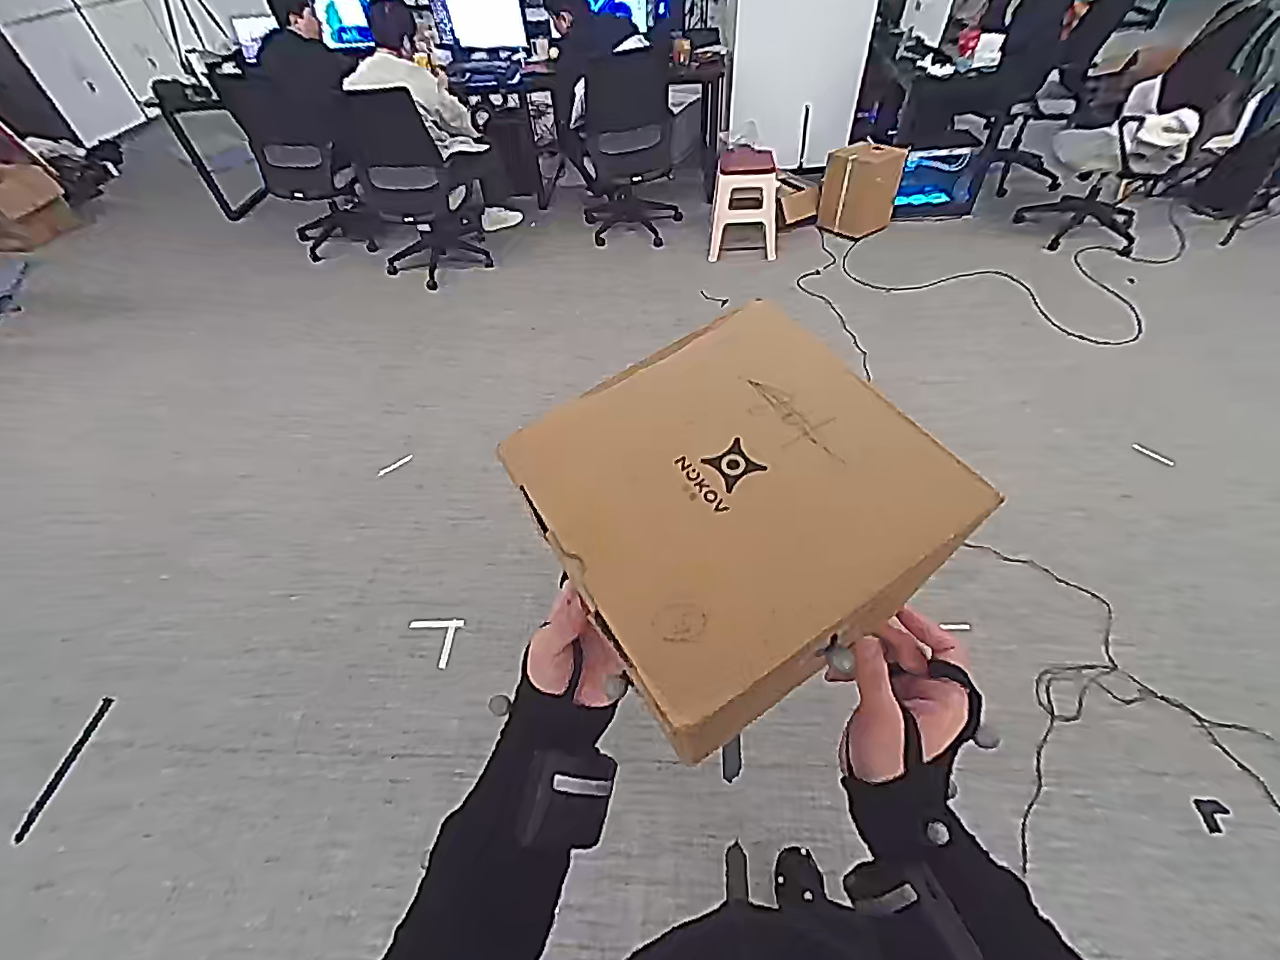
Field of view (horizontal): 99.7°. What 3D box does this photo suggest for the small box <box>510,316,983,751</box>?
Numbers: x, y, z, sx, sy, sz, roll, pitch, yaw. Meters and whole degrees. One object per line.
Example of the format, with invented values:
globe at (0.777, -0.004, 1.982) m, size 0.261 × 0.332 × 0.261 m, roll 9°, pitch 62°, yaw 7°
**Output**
small box at (0.052, 0.042, 0.334) m, size 0.179 × 0.176 × 0.168 m, roll -31°, pitch 61°, yaw -12°
